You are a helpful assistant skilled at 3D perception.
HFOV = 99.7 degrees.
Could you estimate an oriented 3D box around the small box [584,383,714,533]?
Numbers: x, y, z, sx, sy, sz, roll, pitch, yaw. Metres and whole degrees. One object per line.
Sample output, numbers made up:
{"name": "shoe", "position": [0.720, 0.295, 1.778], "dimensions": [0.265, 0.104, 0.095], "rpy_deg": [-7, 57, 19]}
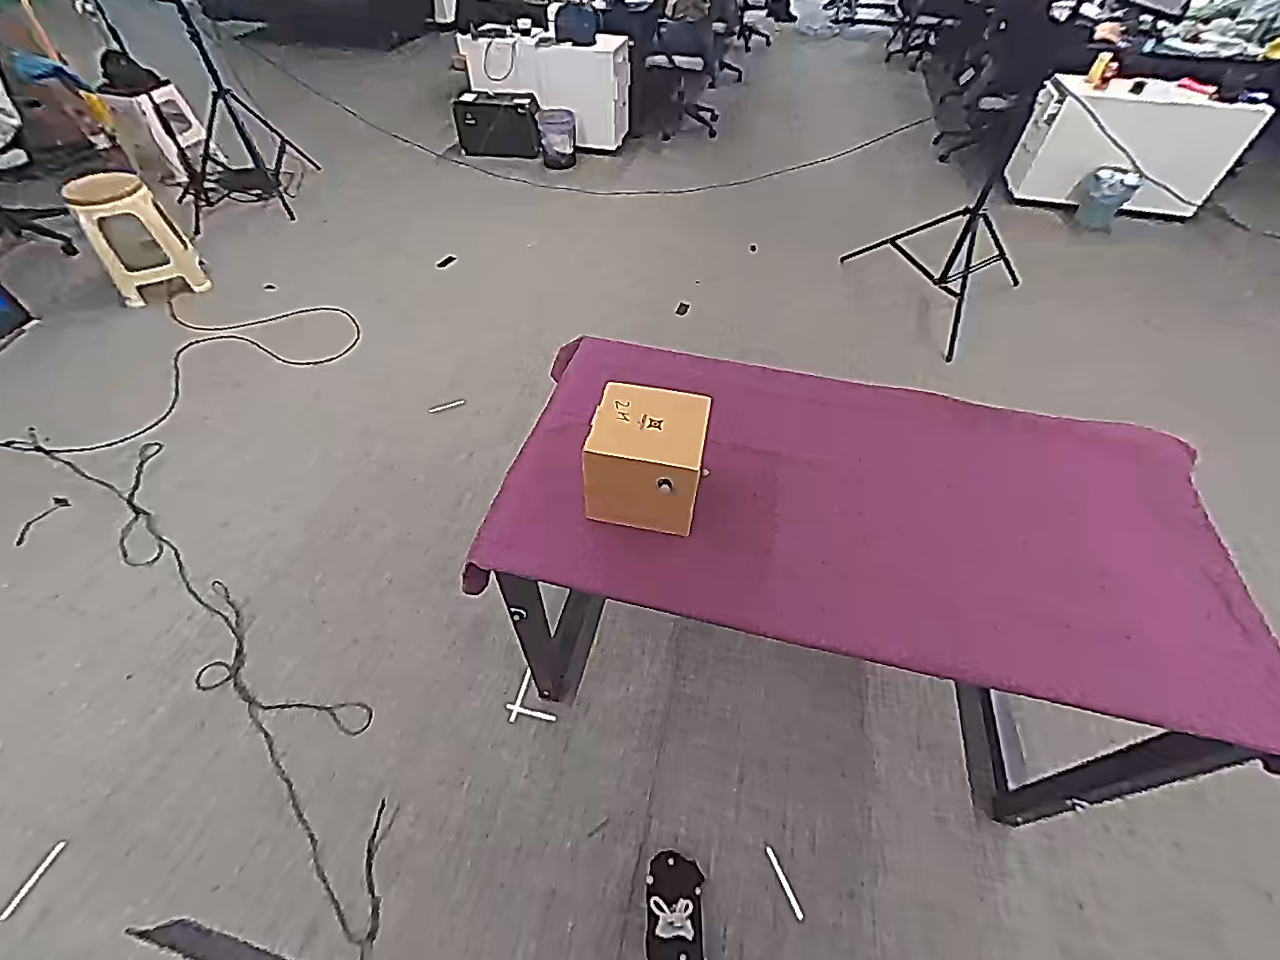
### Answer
{"name": "small box", "position": [0.016, -0.033, 0.892], "dimensions": [0.179, 0.176, 0.168], "rpy_deg": [9, 49, 6]}
